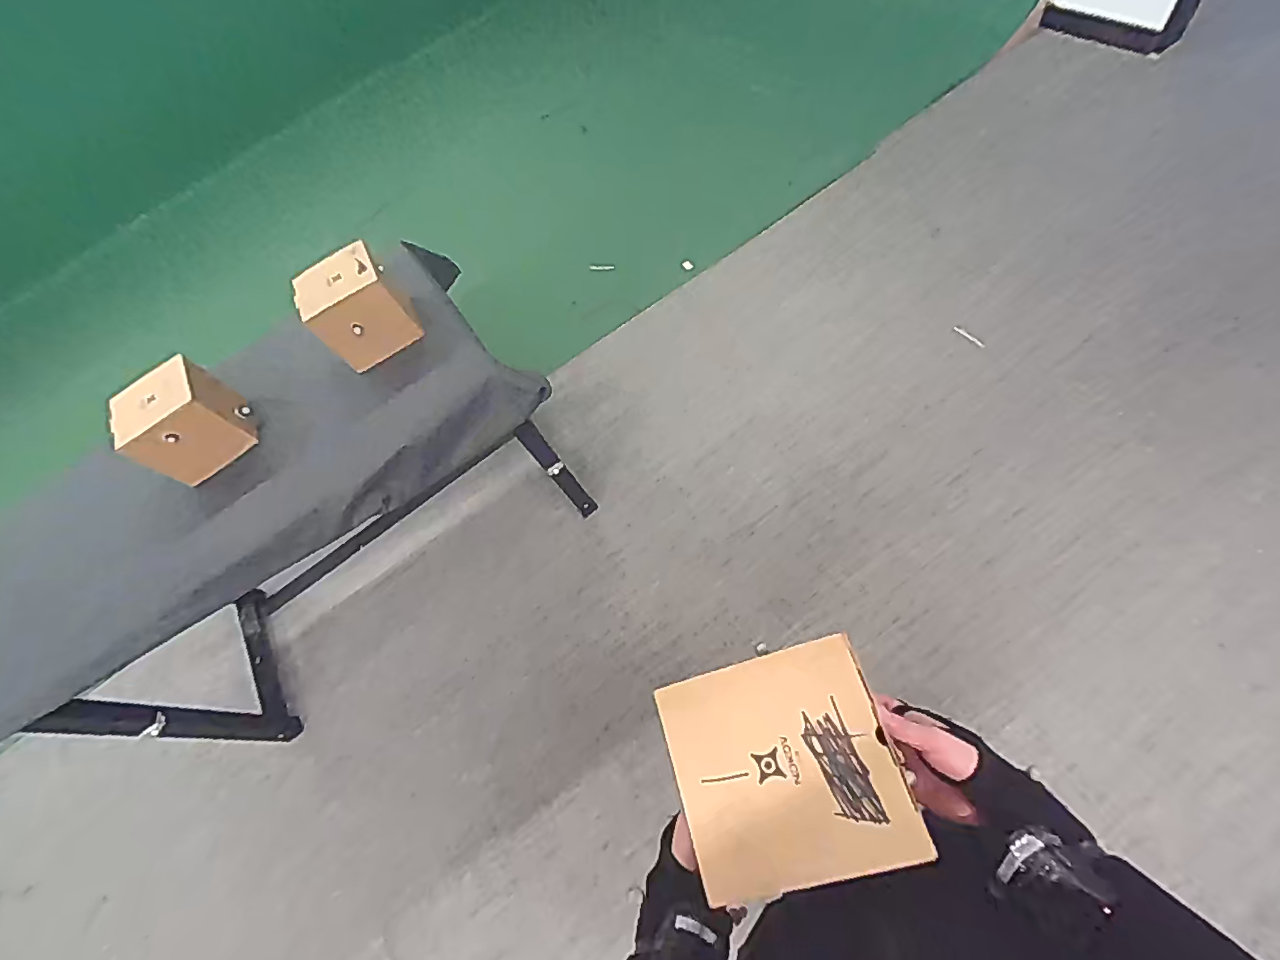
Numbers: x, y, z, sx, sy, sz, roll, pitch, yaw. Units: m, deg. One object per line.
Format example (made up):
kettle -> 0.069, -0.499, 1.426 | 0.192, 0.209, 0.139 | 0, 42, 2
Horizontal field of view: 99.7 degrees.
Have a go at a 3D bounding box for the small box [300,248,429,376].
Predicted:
small box -> -0.605, -0.364, 1.197 | 0.179, 0.176, 0.168 | -32, 59, -1

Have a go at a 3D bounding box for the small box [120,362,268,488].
small box -> -0.960, -0.112, 1.171 | 0.179, 0.176, 0.168 | -36, 60, -6
